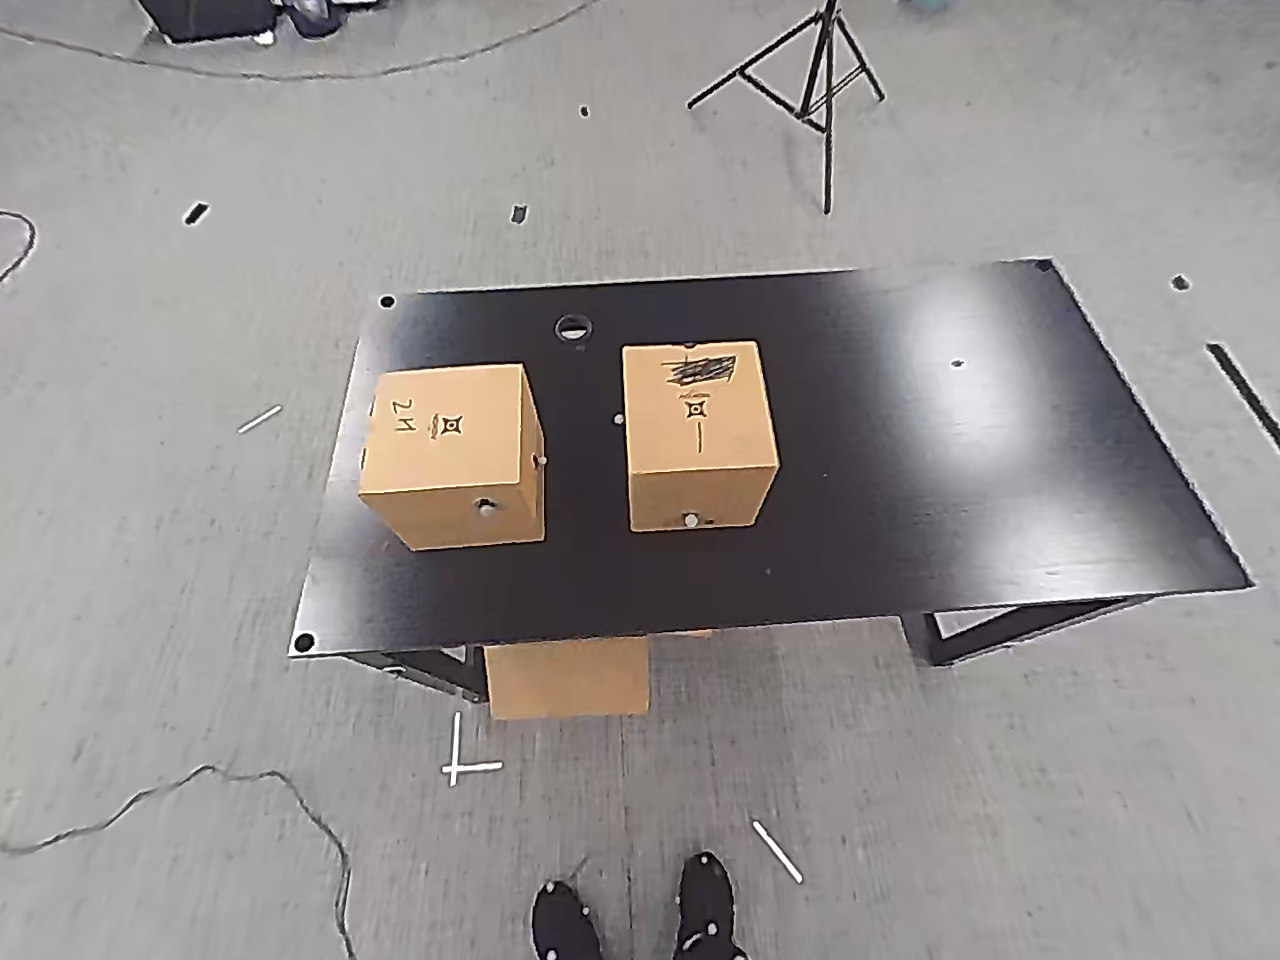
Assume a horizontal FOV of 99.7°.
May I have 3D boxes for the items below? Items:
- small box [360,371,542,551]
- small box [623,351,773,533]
[{"bbox_3d":[-0.222,-0.019,0.690,0.179,0.176,0.168,-4,61,-2],"label":"small box"},{"bbox_3d":[0.062,-0.044,0.704,0.168,0.176,0.179,-3,62,-1],"label":"small box"}]
